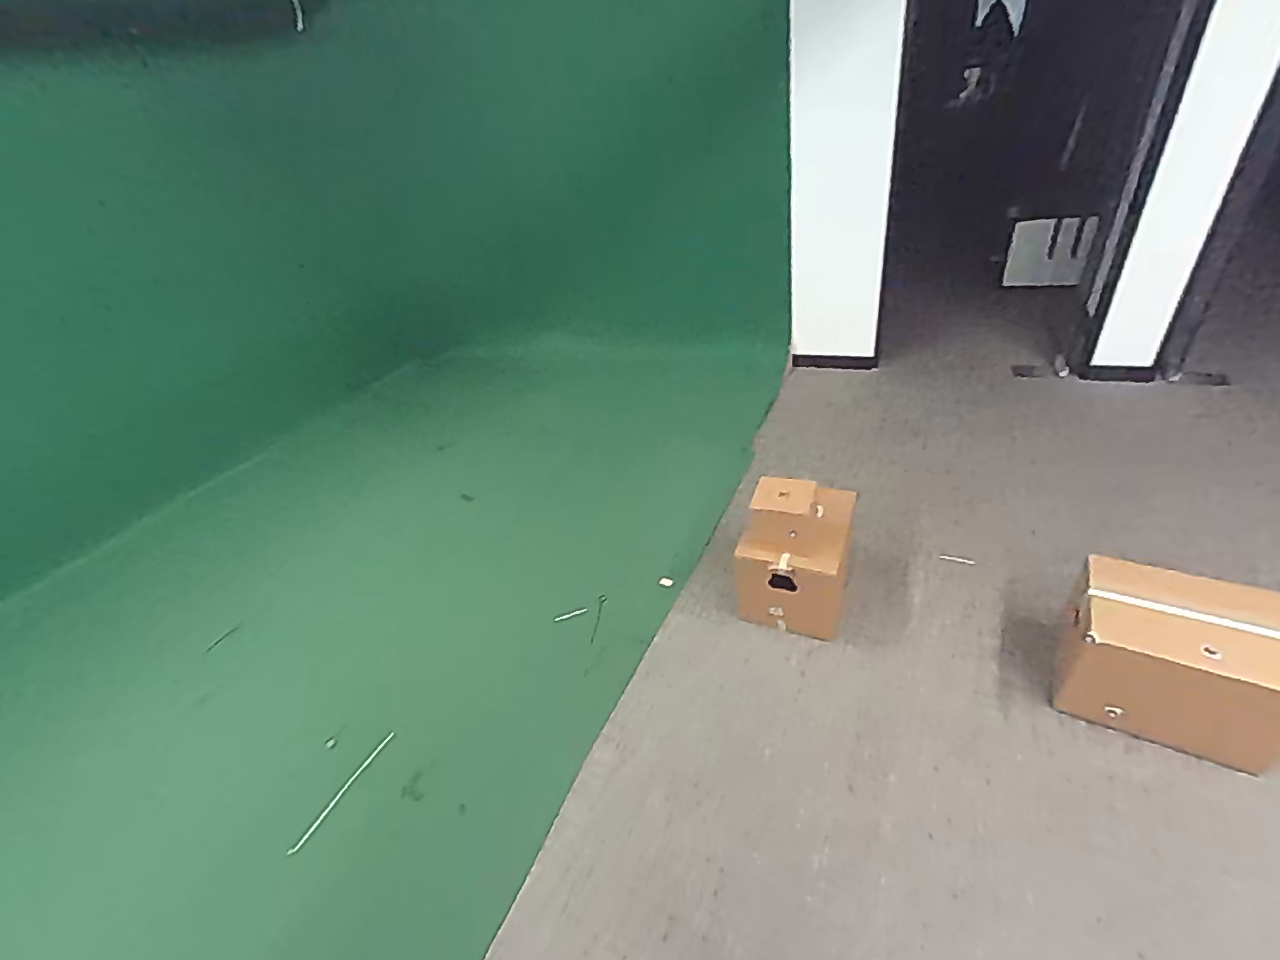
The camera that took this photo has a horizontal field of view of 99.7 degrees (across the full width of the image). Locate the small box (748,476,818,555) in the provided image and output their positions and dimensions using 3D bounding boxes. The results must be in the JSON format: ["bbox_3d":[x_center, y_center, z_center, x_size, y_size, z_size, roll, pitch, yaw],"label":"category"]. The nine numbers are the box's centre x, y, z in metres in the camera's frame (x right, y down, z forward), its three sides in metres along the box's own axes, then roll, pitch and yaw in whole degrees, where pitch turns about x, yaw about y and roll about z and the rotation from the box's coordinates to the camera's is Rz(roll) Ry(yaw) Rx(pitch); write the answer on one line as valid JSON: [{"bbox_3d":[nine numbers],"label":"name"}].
[{"bbox_3d":[0.446,0.110,1.668,0.179,0.176,0.168,6,38,26],"label":"small box"}]

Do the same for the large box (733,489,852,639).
[{"bbox_3d":[0.533,0.267,1.850,0.320,0.320,0.408,8,39,26],"label":"large box"}]
